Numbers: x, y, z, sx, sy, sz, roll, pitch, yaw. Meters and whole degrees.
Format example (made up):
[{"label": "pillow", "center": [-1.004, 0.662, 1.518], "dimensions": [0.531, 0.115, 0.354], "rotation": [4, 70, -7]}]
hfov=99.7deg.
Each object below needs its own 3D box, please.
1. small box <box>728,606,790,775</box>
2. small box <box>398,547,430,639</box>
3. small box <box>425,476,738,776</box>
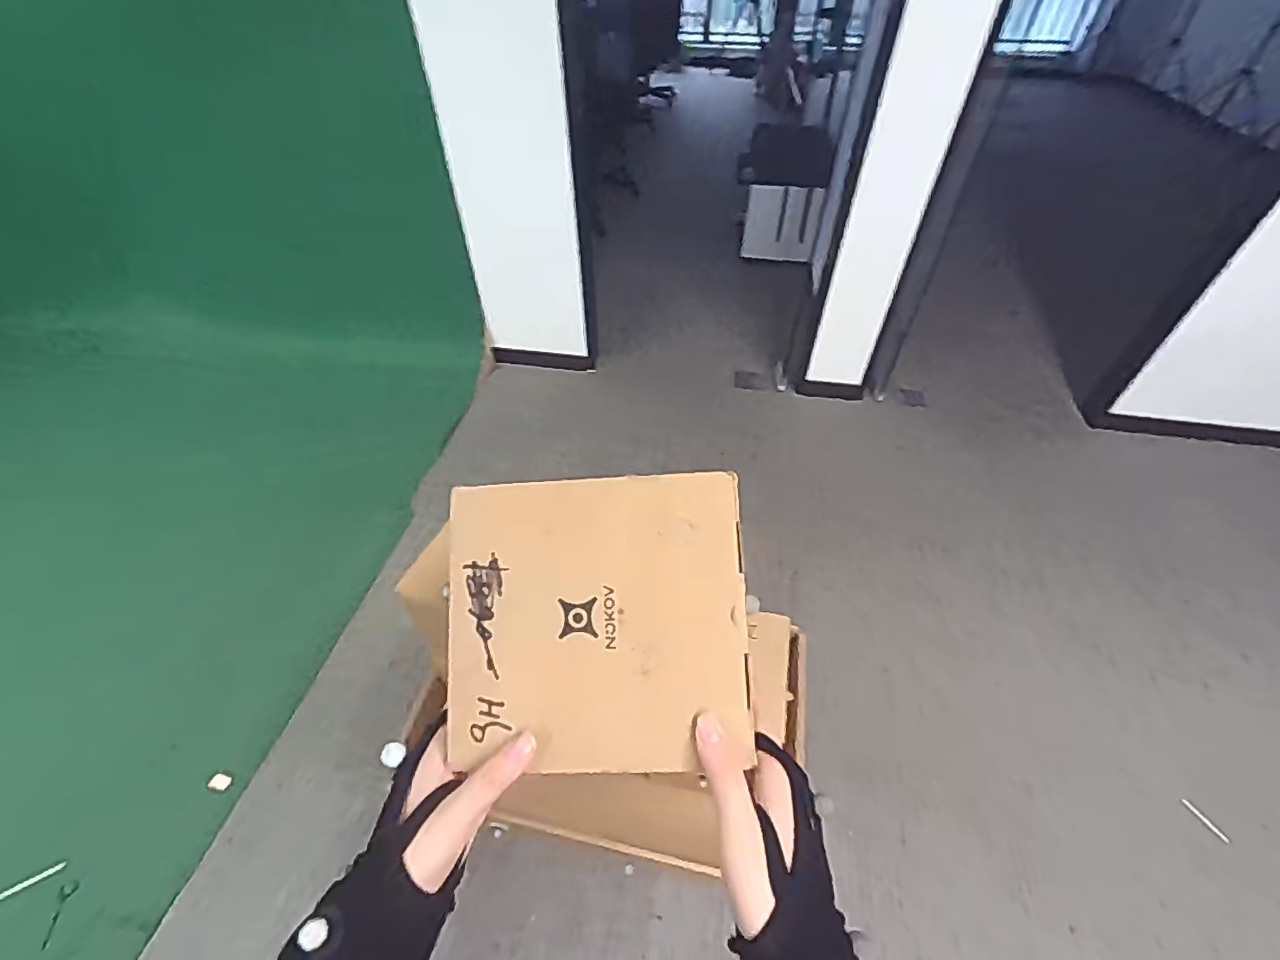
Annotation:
[{"label": "small box", "center": [0.114, 0.298, 0.778], "dimensions": [0.168, 0.176, 0.179], "rotation": [10, 48, 9]}, {"label": "small box", "center": [-0.170, 0.149, 0.702], "dimensions": [0.179, 0.176, 0.168], "rotation": [17, 49, 13]}, {"label": "small box", "center": [-0.030, 0.092, 0.386], "dimensions": [0.179, 0.176, 0.168], "rotation": [-3, 80, 5]}]
